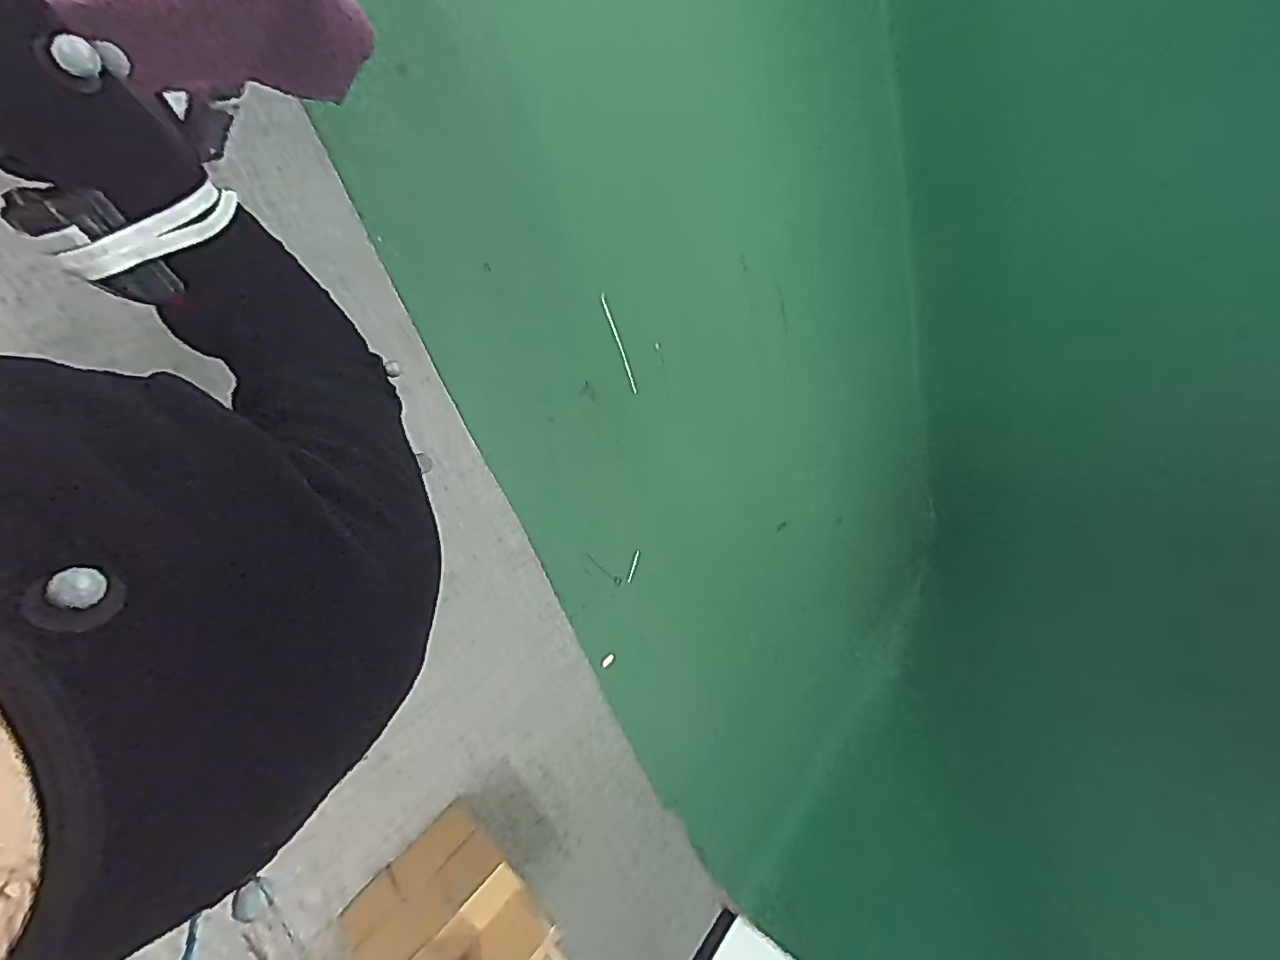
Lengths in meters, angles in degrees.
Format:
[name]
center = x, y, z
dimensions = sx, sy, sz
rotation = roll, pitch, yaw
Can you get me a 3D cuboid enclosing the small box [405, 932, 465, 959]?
[small box]
center = -0.500, 1.269, 1.320
dimensions = 0.168, 0.176, 0.179
rotation = -37, 121, -33
